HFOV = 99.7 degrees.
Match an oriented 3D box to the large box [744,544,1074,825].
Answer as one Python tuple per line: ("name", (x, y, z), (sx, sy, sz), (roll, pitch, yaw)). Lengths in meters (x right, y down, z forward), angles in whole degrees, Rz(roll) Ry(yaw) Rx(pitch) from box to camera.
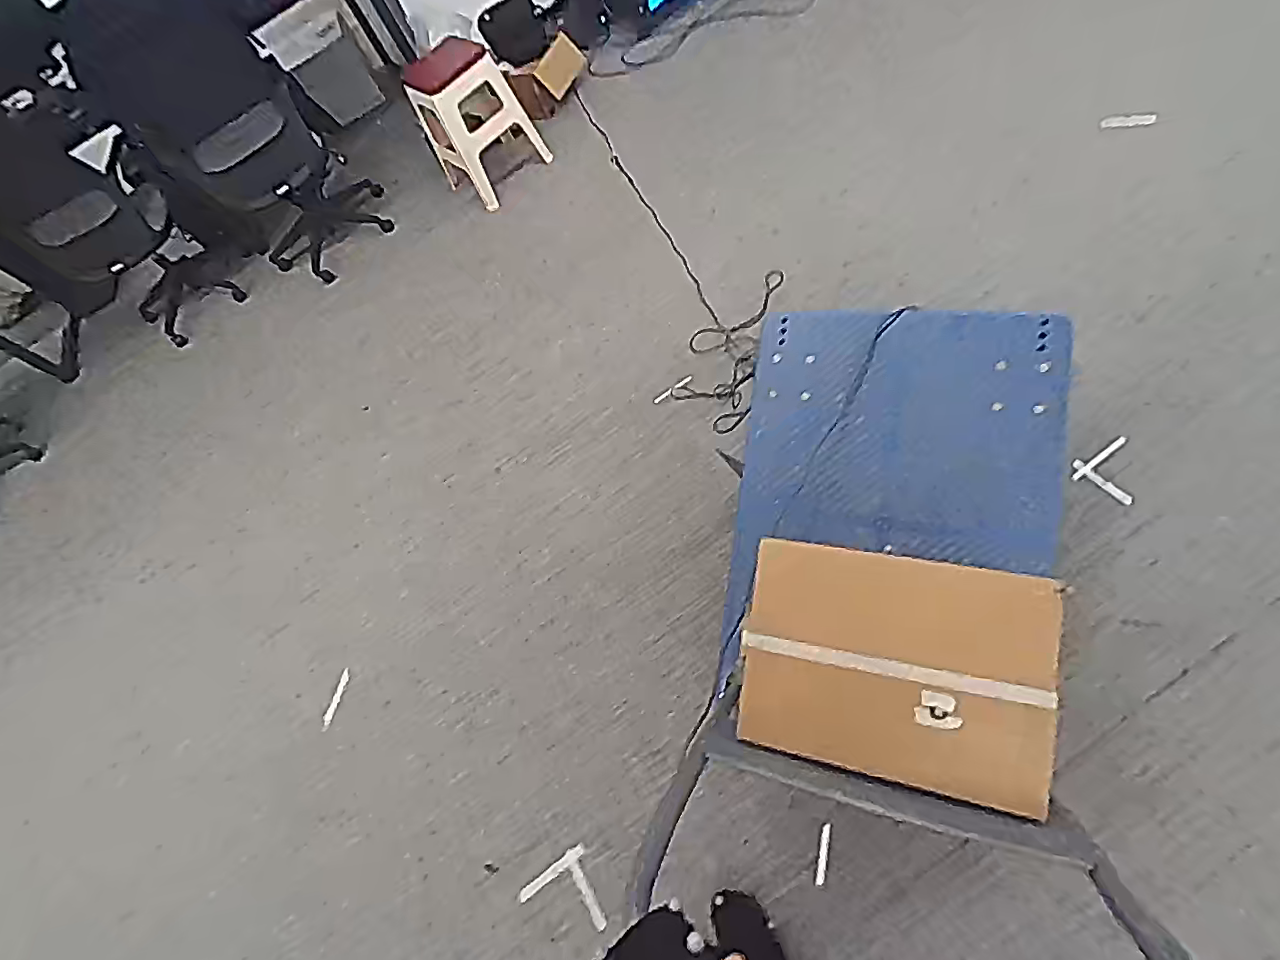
("large box", (0.405, 0.287, 0.896), (0.408, 0.320, 0.320), (7, 86, 19))
